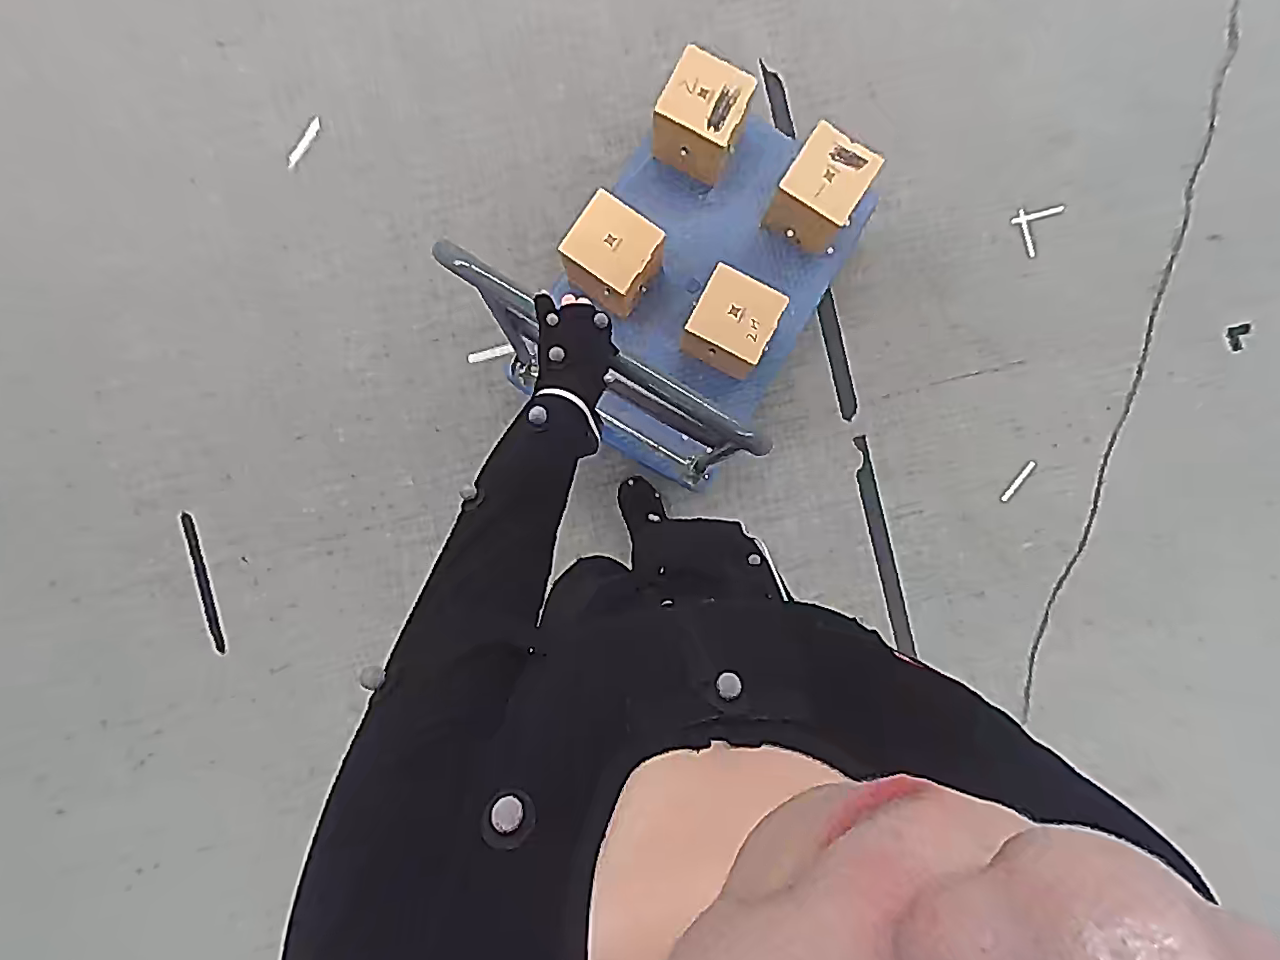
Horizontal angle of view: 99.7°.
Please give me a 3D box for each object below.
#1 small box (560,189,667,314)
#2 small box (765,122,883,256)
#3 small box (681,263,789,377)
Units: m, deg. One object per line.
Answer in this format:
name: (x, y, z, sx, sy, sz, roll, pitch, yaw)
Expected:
small box: (-0.061, -0.510, 1.237, 0.179, 0.176, 0.168, 34, 89, -2)
small box: (0.411, -0.658, 1.244, 0.168, 0.176, 0.179, 33, 90, 0)
small box: (0.207, -0.354, 1.238, 0.179, 0.176, 0.168, 28, 89, 0)
